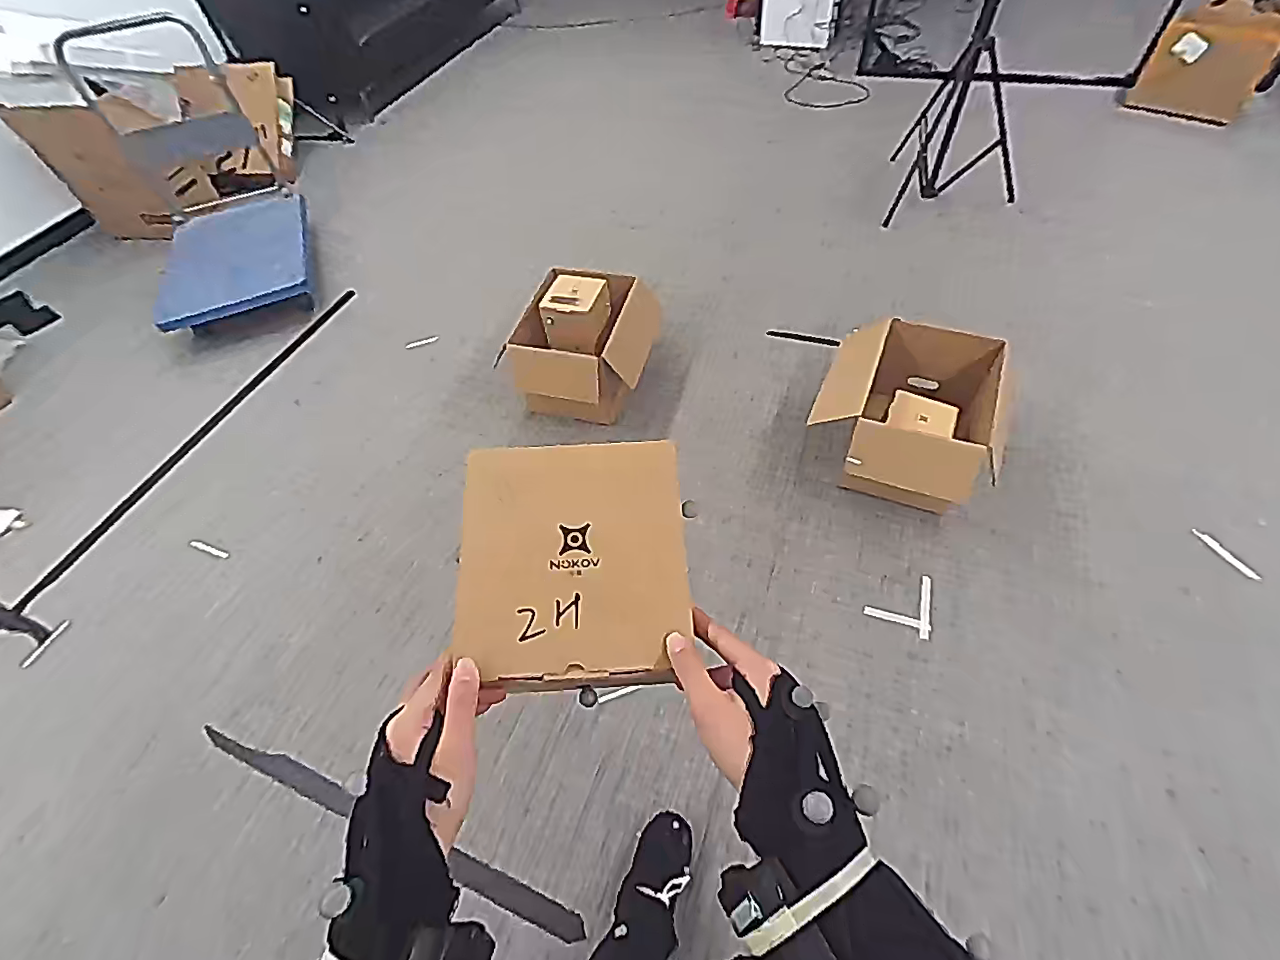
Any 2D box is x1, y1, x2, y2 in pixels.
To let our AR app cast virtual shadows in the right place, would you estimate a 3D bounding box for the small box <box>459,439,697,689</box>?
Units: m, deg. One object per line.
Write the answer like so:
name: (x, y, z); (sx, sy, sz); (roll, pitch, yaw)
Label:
small box: (-0.046, 0.081, 0.474); (0.168, 0.176, 0.179); (-3, 66, -1)
